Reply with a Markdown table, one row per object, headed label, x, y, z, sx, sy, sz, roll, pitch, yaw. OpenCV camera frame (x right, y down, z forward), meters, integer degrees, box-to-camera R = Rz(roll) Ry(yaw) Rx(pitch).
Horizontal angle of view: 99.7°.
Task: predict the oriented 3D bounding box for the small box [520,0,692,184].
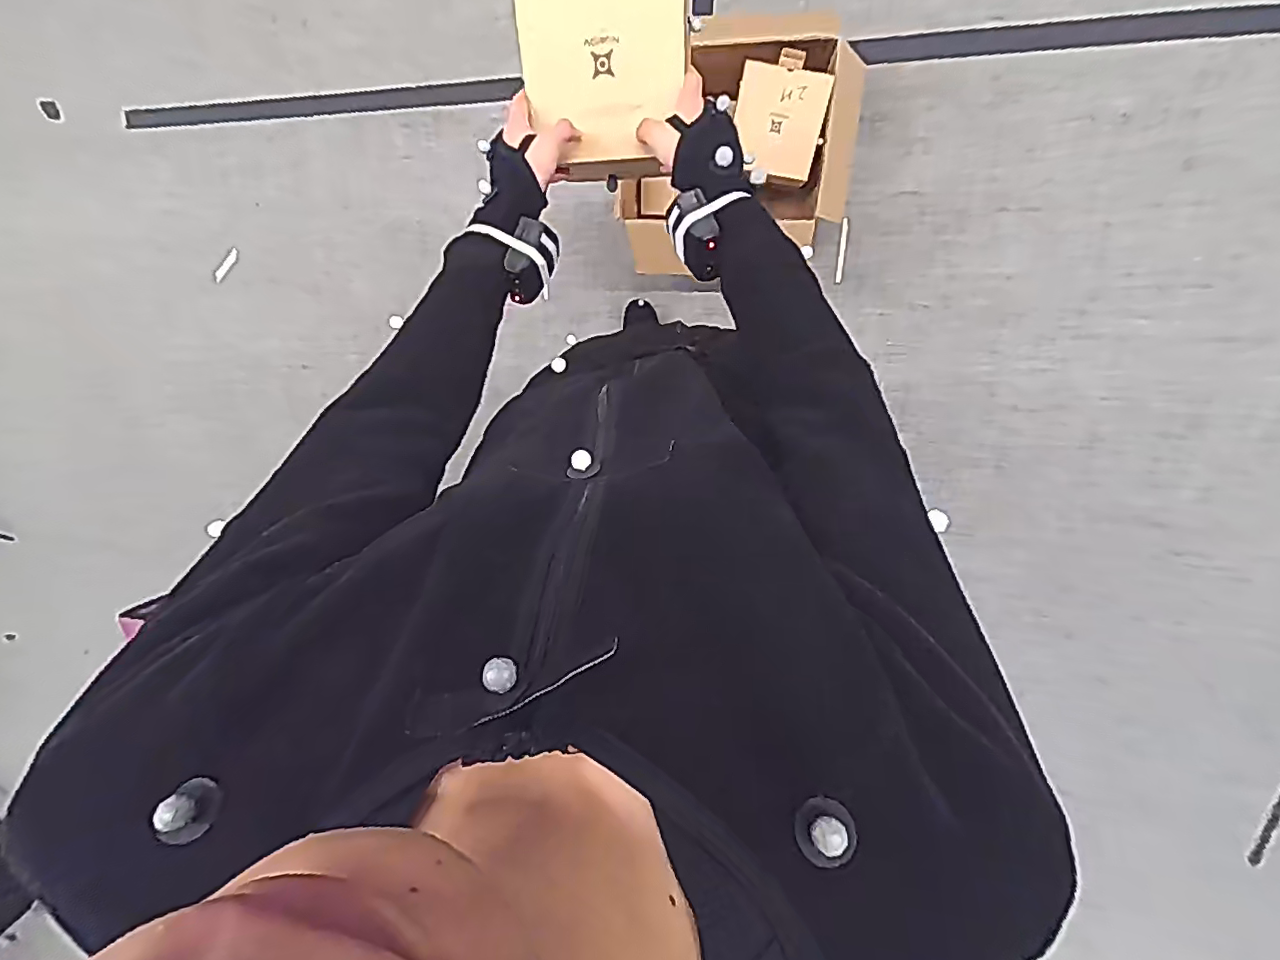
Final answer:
| label | x | y | z | sx | sy | sz | roll | pitch | yaw |
| --- | --- | --- | --- | --- | --- | --- | --- | --- | --- |
| small box | -0.027 | -0.450 | 0.614 | 0.168 | 0.176 | 0.179 | 0 | 112 | 7 |
